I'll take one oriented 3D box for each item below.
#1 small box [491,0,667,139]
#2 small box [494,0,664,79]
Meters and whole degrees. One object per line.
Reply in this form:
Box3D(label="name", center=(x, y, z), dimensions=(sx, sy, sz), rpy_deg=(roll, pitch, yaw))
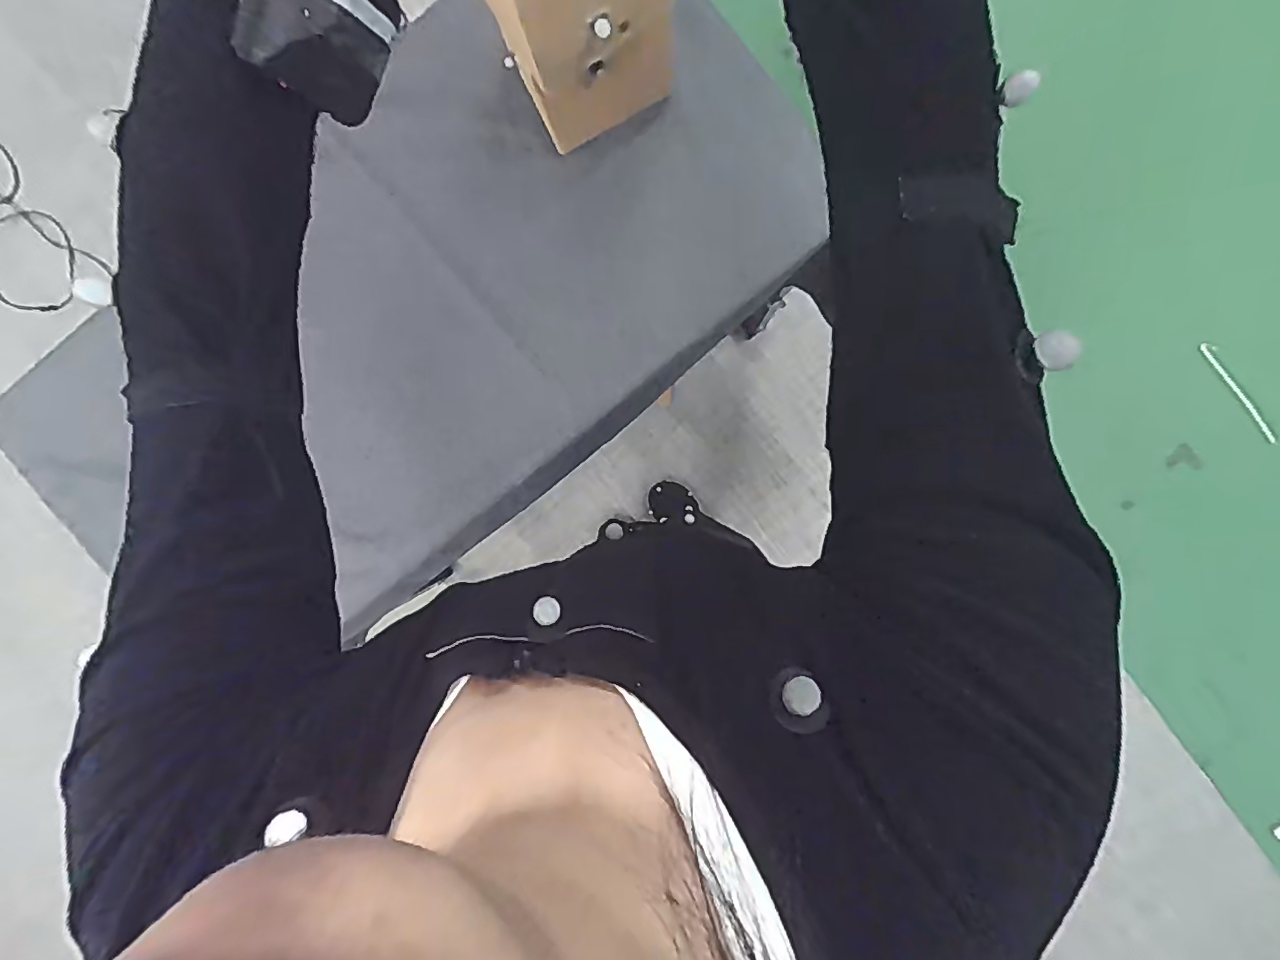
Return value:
Box3D(label="small box", center=(-0.076, -0.565, 0.658), dimensions=(0.179, 0.176, 0.168), rpy_deg=(-26, 92, 5))
Box3D(label="small box", center=(-0.084, -0.535, 0.496), dimensions=(0.168, 0.176, 0.179), rpy_deg=(-33, 92, 6))
